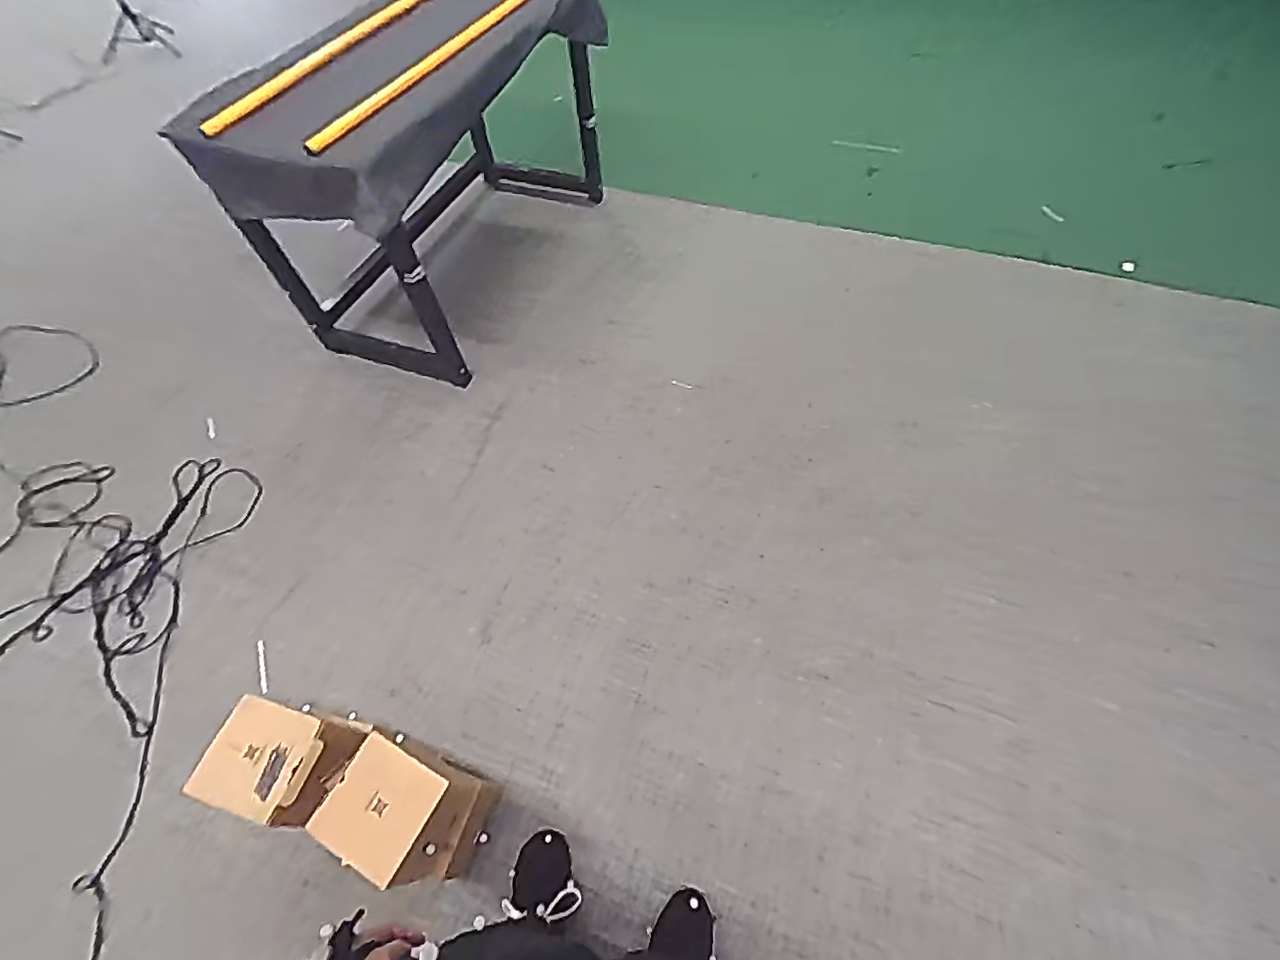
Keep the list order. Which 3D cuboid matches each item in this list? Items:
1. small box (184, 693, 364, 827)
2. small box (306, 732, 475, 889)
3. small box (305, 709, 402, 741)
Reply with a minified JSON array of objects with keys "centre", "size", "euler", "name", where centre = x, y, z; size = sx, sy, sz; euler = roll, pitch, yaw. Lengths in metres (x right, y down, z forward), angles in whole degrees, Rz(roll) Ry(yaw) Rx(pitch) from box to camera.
[{"centre":[-0.649,0.511,0.988],"size":[0.179,0.176,0.168],"euler":[13,59,12],"name":"small box"},{"centre":[-0.420,0.568,0.945],"size":[0.179,0.176,0.168],"euler":[22,62,16],"name":"small box"},{"centre":[-0.630,0.598,1.127],"size":[0.168,0.176,0.179],"euler":[8,58,9],"name":"small box"}]
